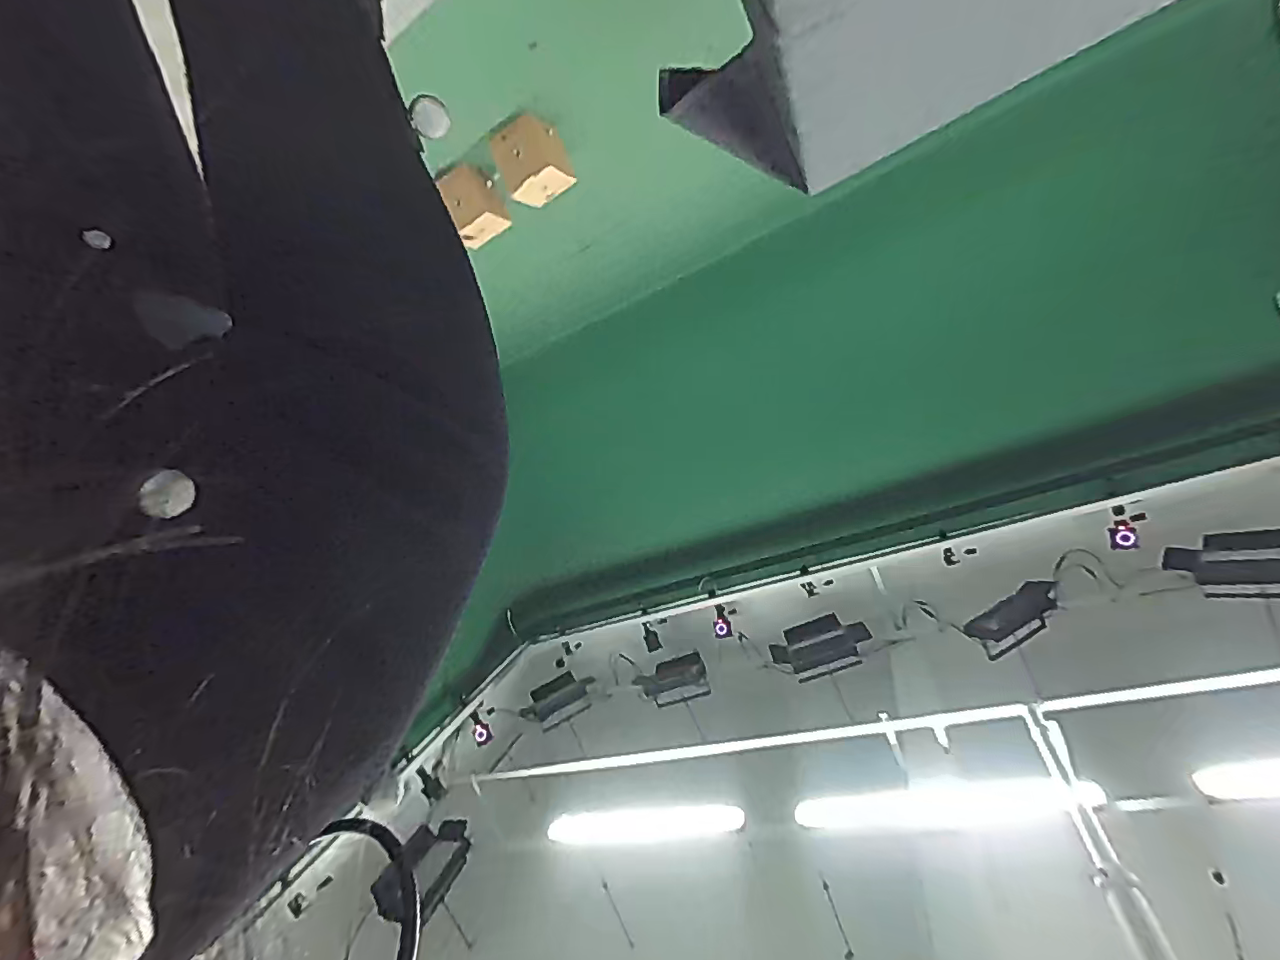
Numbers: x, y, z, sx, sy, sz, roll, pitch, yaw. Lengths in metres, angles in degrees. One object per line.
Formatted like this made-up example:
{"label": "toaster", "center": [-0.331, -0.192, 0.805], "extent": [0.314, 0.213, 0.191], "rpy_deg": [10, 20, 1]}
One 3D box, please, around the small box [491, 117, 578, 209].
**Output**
{"label": "small box", "center": [-0.328, -0.983, 1.677], "extent": [0.168, 0.176, 0.179], "rpy_deg": [-20, -174, 25]}
